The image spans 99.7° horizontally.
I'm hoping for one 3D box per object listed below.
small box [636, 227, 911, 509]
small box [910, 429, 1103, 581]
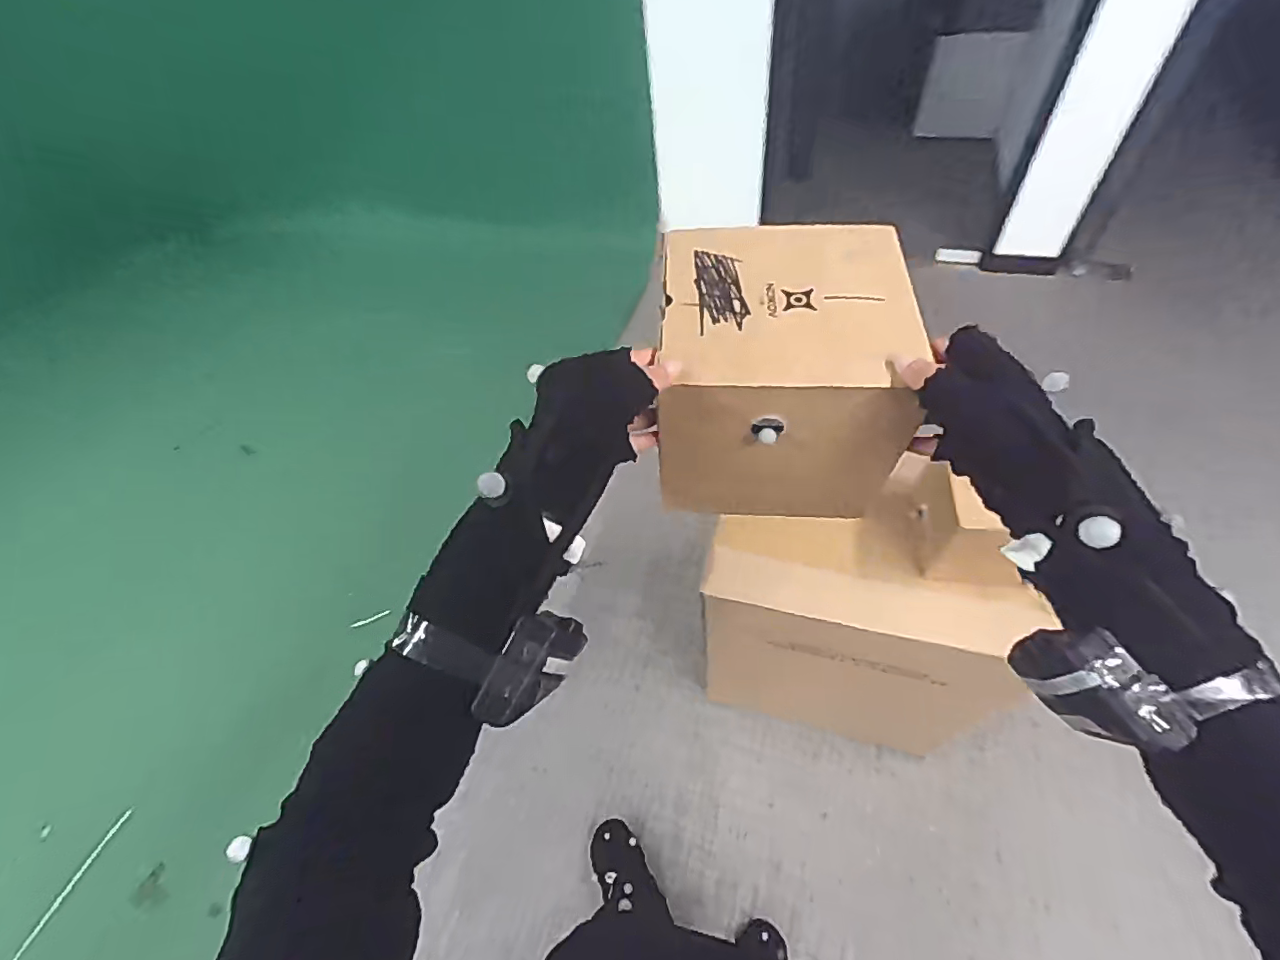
[{"bbox_3d":[0.094,-0.085,0.453,0.179,0.176,0.168,1,58,4],"label":"small box"},{"bbox_3d":[0.528,0.041,0.811,0.179,0.176,0.168,2,57,12],"label":"small box"}]
